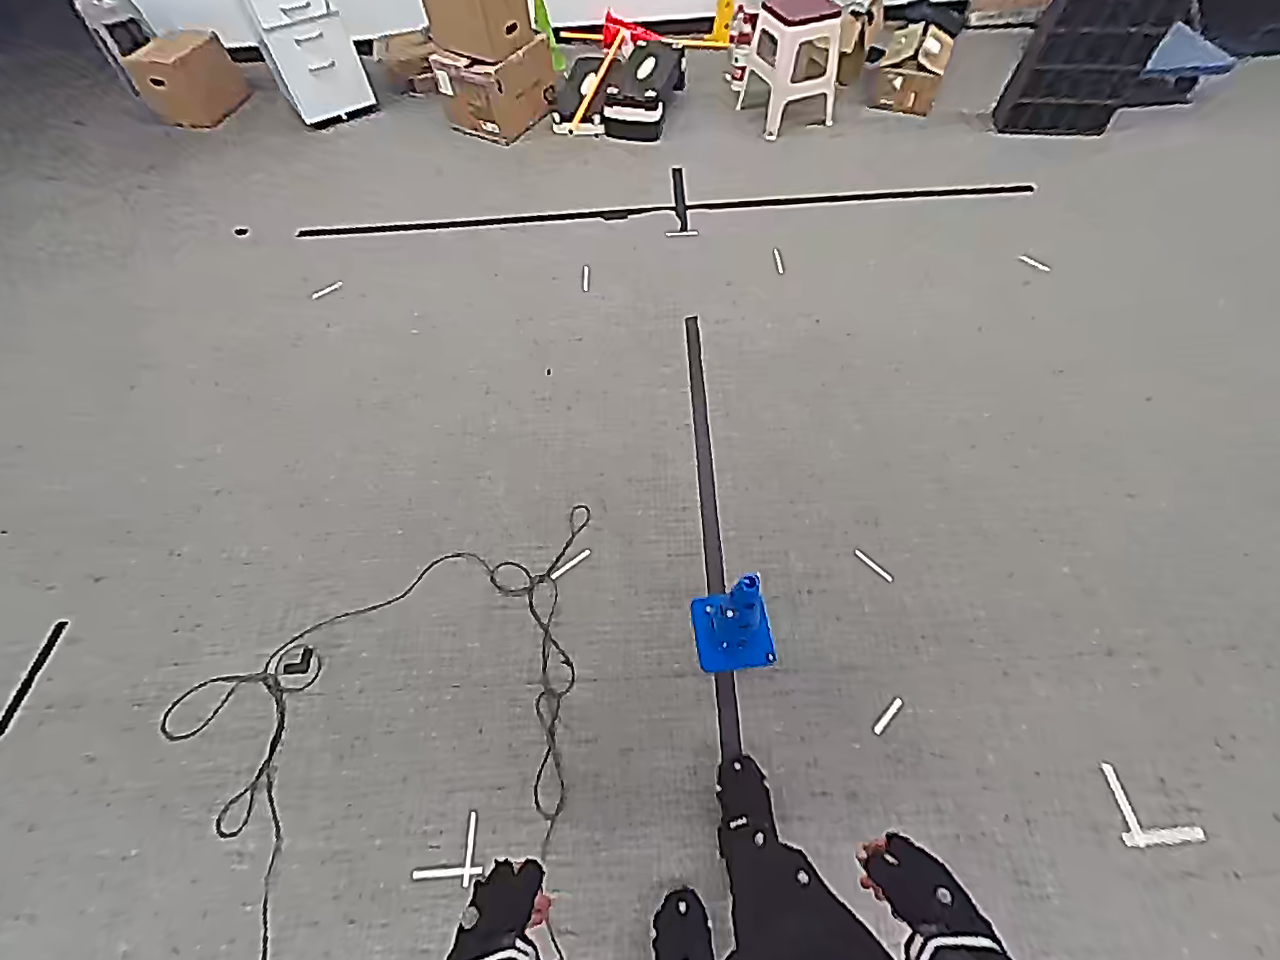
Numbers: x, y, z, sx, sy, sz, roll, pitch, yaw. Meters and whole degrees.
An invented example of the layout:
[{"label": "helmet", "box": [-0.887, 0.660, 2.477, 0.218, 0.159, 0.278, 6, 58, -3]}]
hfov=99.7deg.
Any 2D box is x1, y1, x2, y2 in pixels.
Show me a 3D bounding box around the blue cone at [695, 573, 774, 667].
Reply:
[{"label": "blue cone", "box": [0.243, 0.311, 1.299, 0.192, 0.380, 0.193, -5, 58, -2]}]
